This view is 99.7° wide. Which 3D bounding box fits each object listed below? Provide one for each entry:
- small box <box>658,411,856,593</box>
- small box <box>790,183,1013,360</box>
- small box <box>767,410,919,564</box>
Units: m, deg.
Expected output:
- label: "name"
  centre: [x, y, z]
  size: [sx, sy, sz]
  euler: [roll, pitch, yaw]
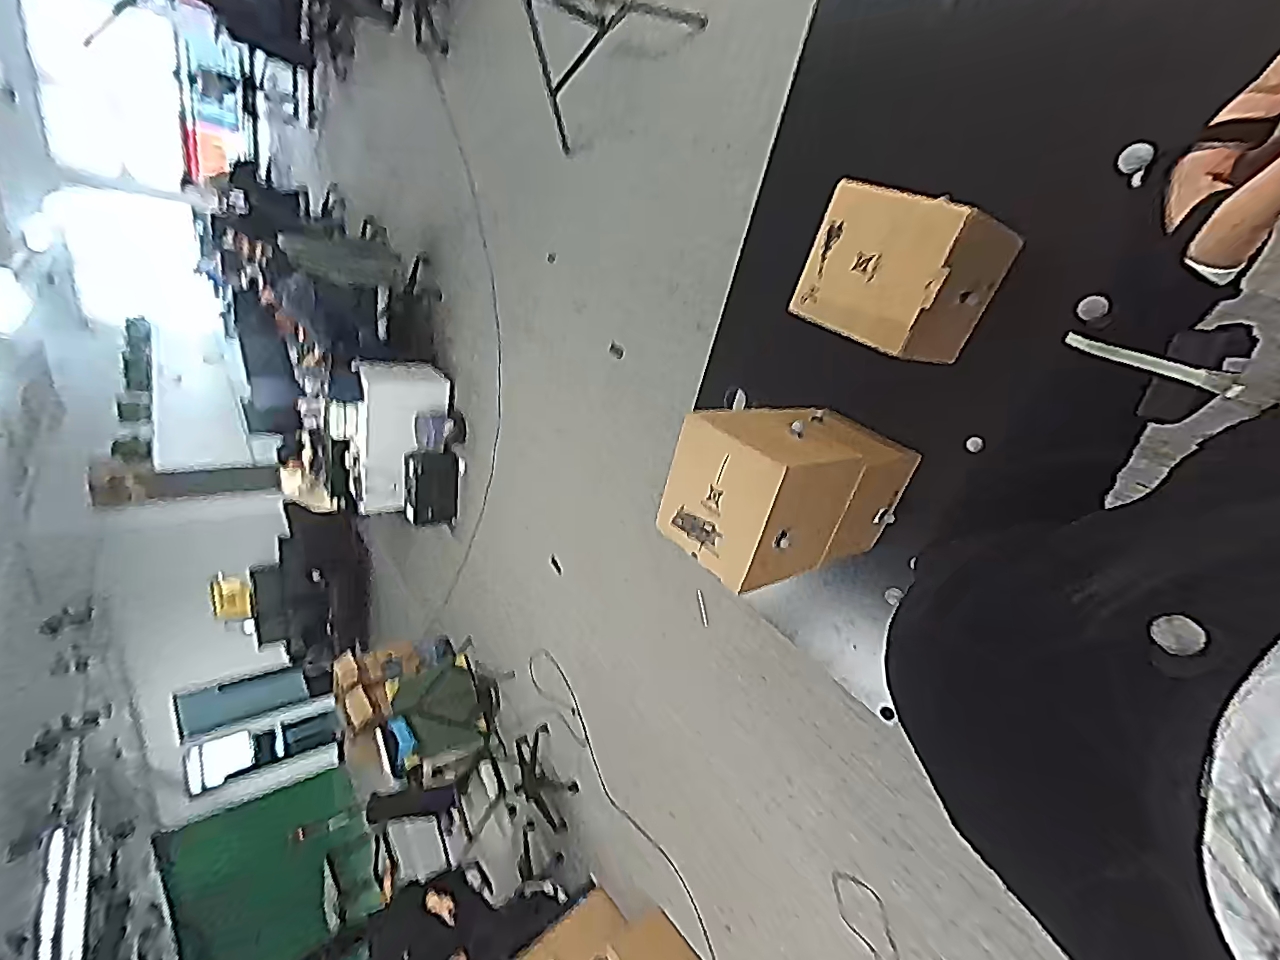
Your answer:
- label: "small box"
  centre: [0.152, 0.018, 0.715]
  size: [0.168, 0.176, 0.179]
  euler: [37, 123, 42]
- label: "small box"
  centre: [0.338, -0.265, 0.705]
  size: [0.179, 0.176, 0.168]
  euler: [42, 126, 38]
- label: "small box"
  centre: [0.278, 0.001, 0.819]
  size: [0.179, 0.176, 0.168]
  euler: [37, 124, 40]
